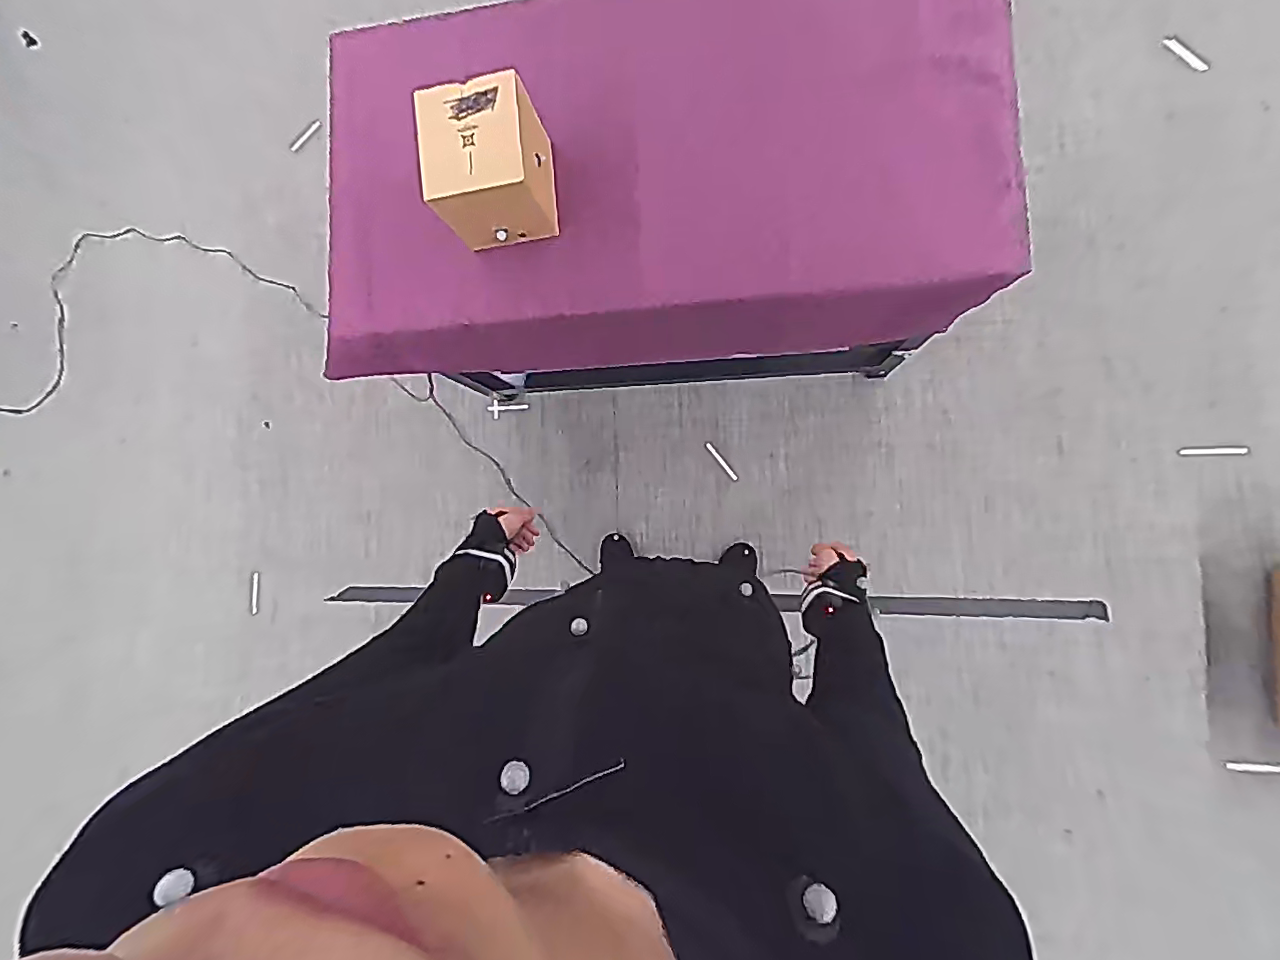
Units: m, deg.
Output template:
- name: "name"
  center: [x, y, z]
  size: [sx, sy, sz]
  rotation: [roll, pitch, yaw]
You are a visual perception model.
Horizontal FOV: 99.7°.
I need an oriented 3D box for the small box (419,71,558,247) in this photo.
- name: "small box"
  center: [-0.243, -0.518, 0.897]
  size: [0.168, 0.176, 0.179]
  rotation: [-6, 87, 9]
